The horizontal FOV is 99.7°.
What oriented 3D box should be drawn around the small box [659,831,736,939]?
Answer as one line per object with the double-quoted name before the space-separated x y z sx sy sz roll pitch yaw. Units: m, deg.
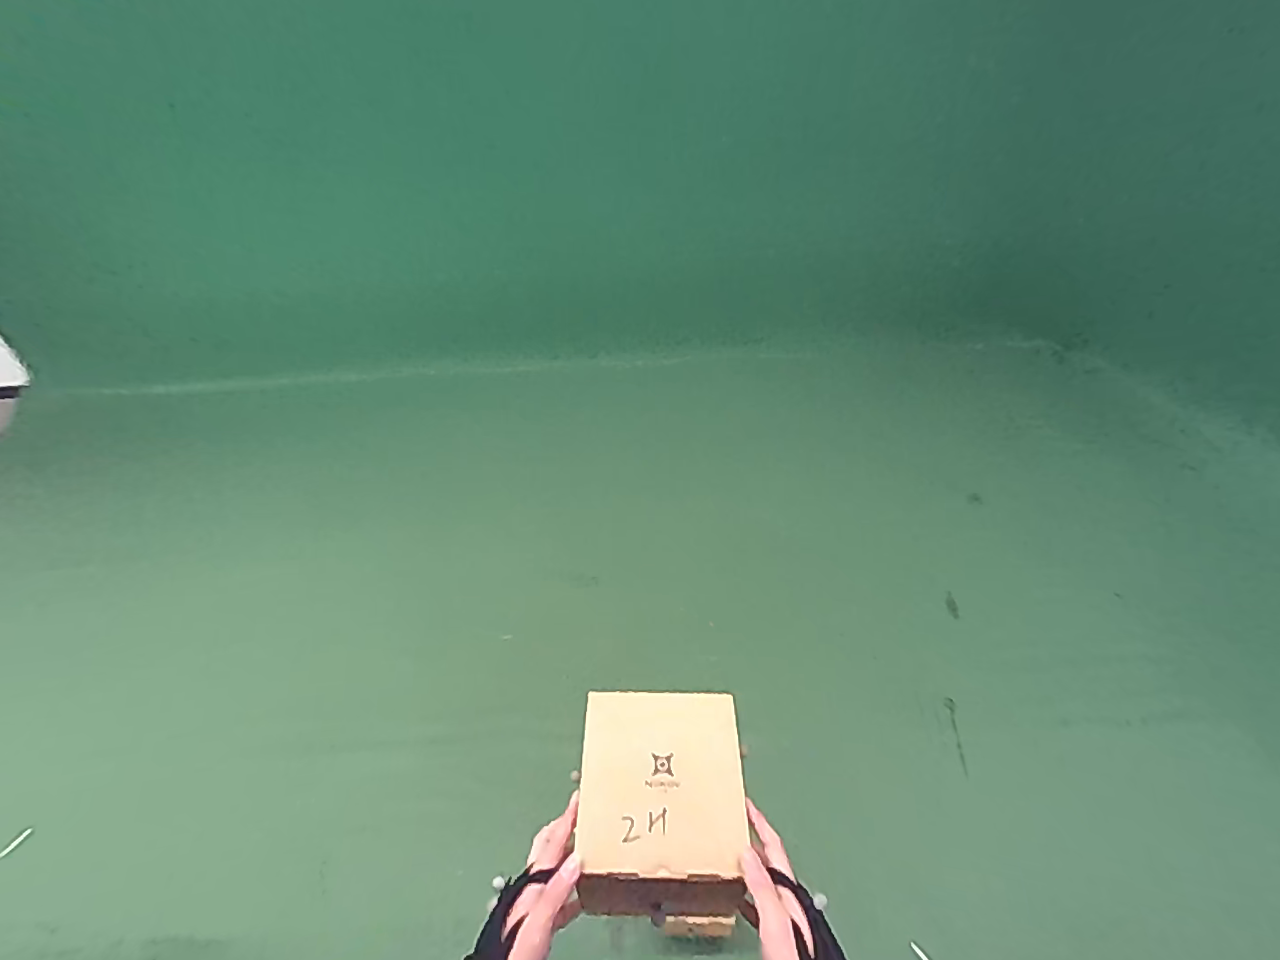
"small box" 0.129 0.954 1.276 0.168 0.176 0.179 -1 43 3
